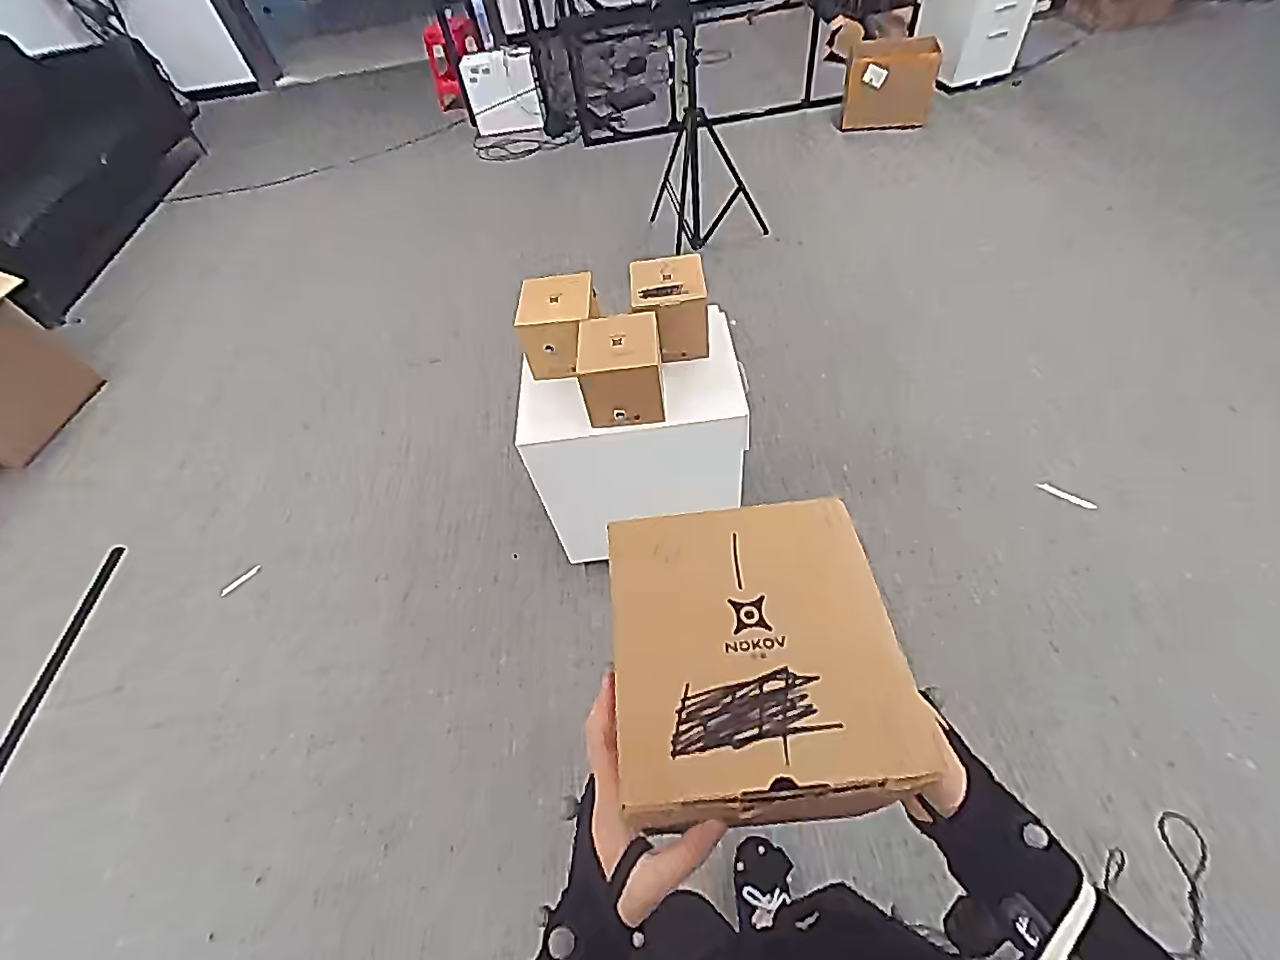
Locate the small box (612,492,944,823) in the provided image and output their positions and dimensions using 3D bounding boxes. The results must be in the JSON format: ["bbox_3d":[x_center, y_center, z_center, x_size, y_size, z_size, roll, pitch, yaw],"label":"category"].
[{"bbox_3d":[0.074,0.133,0.384,0.168,0.176,0.179,-6,52,1],"label":"small box"}]

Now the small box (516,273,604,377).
[{"bbox_3d":[-0.180,-0.358,1.278,0.168,0.176,0.179,-4,53,5],"label":"small box"}]
